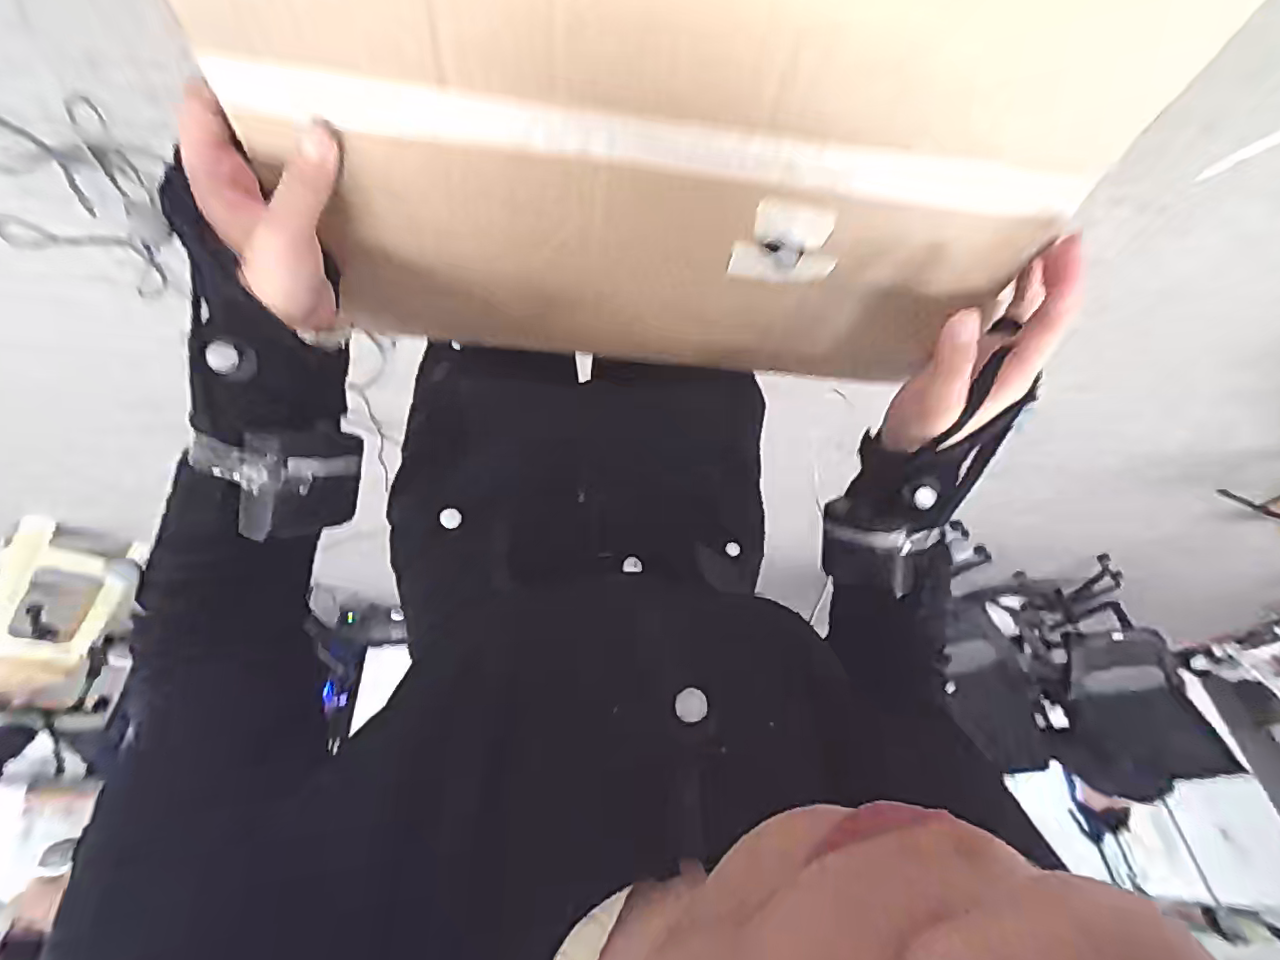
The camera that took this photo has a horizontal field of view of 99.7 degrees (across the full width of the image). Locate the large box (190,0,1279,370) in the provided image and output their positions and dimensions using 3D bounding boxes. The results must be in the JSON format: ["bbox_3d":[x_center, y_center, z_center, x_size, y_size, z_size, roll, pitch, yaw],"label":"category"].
[{"bbox_3d":[0.029,-0.290,0.295,0.408,0.320,0.320,4,152,-6],"label":"large box"}]
